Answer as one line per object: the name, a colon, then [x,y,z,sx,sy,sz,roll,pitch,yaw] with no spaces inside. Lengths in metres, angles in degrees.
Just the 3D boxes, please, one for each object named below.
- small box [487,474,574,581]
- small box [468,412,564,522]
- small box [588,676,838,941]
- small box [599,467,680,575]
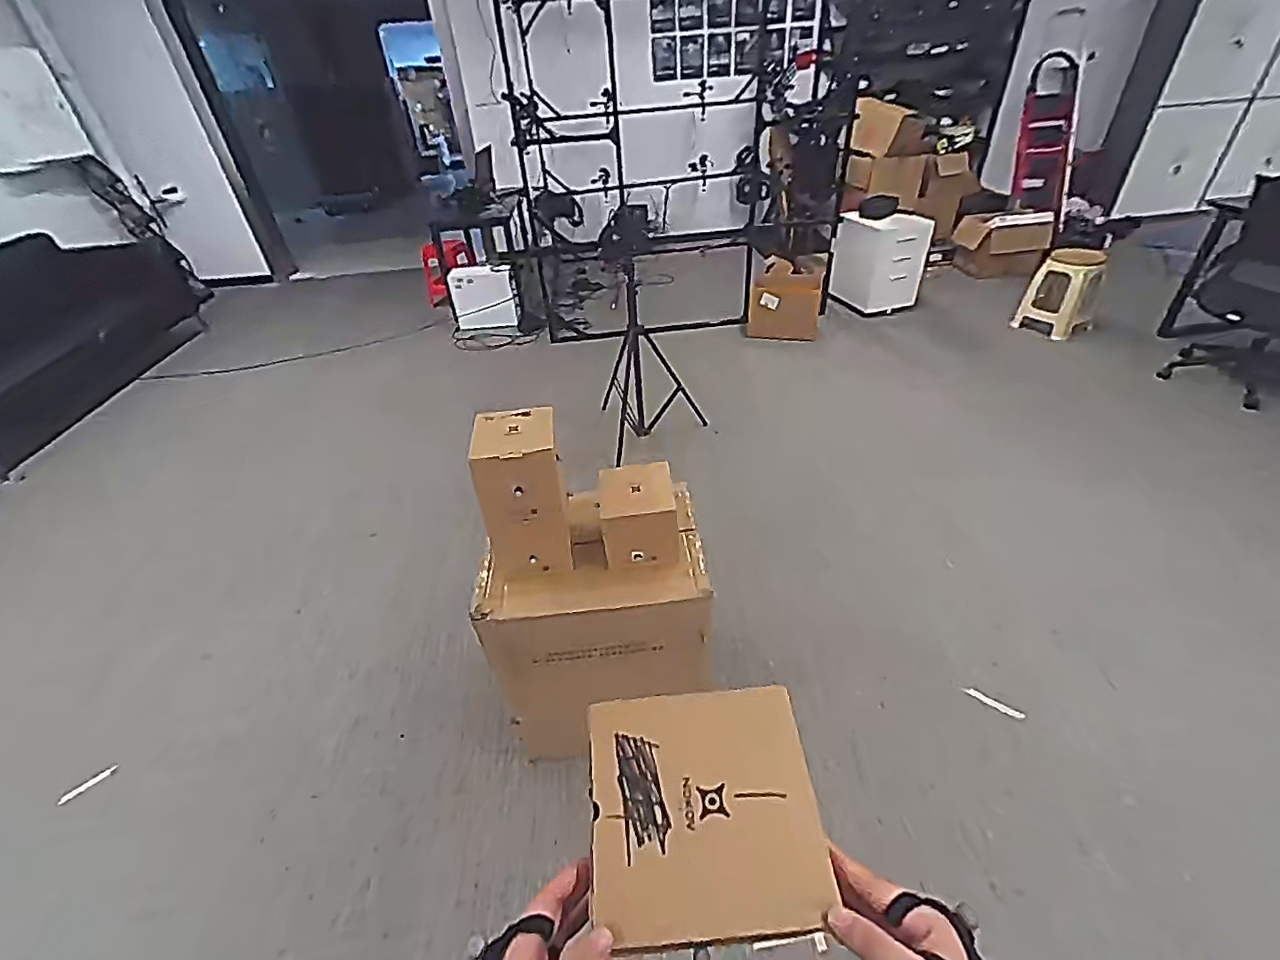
small box: [-0.246,0.109,1.249,0.168,0.176,0.179,-6,37,-4]
small box: [-0.255,-0.023,1.152,0.168,0.176,0.179,-7,38,-5]
small box: [0.051,0.295,0.483,0.179,0.176,0.168,-5,48,-2]
small box: [-0.003,0.093,1.247,0.168,0.176,0.179,-8,39,-1]
